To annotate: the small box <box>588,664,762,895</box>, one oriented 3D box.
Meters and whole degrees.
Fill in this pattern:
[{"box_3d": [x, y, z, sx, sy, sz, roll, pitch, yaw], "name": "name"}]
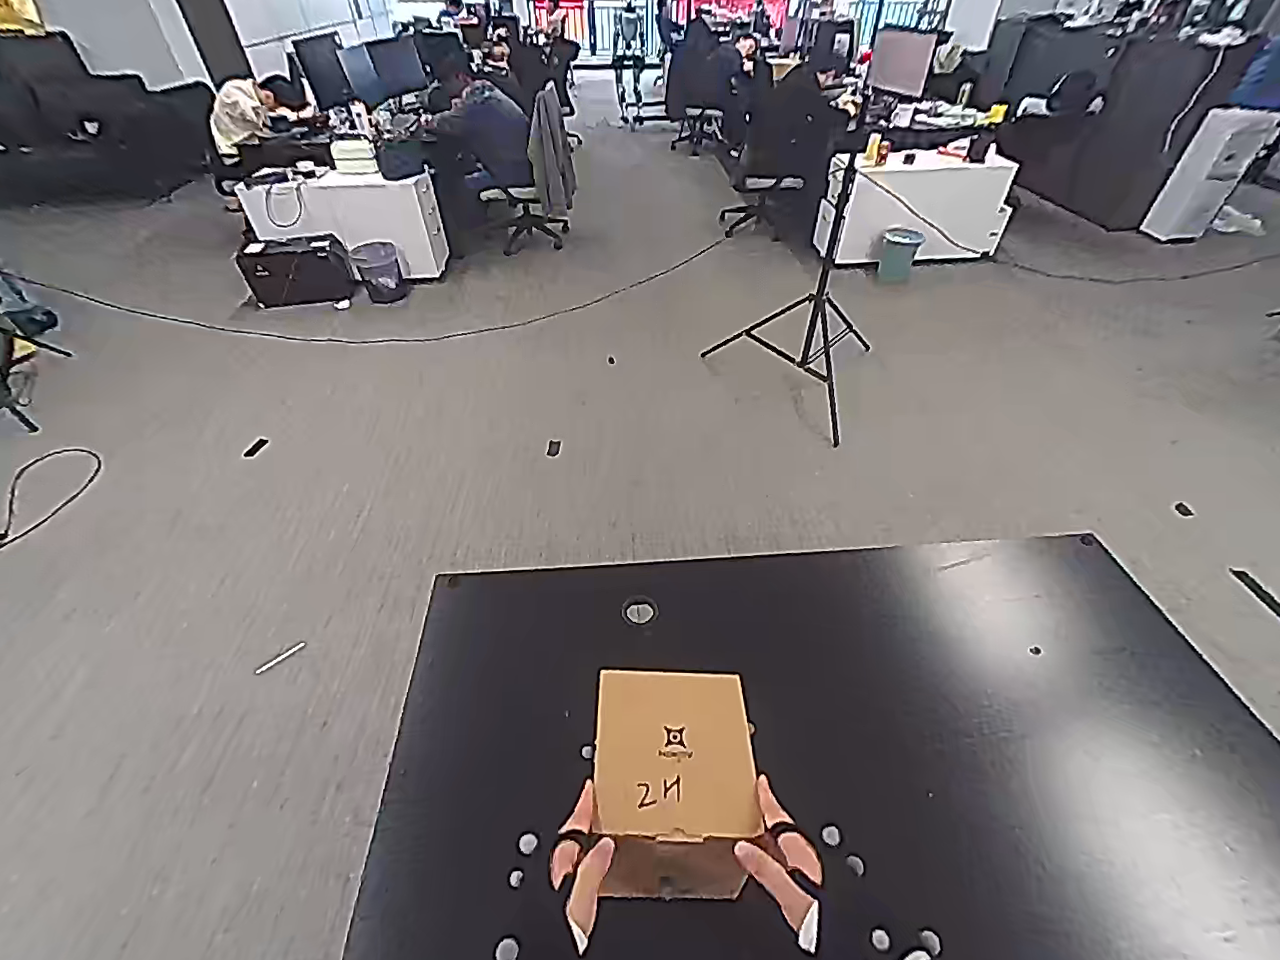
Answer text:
[{"box_3d": [0.029, 0.338, 0.617, 0.168, 0.176, 0.179, 3, 37, -2], "name": "small box"}]
